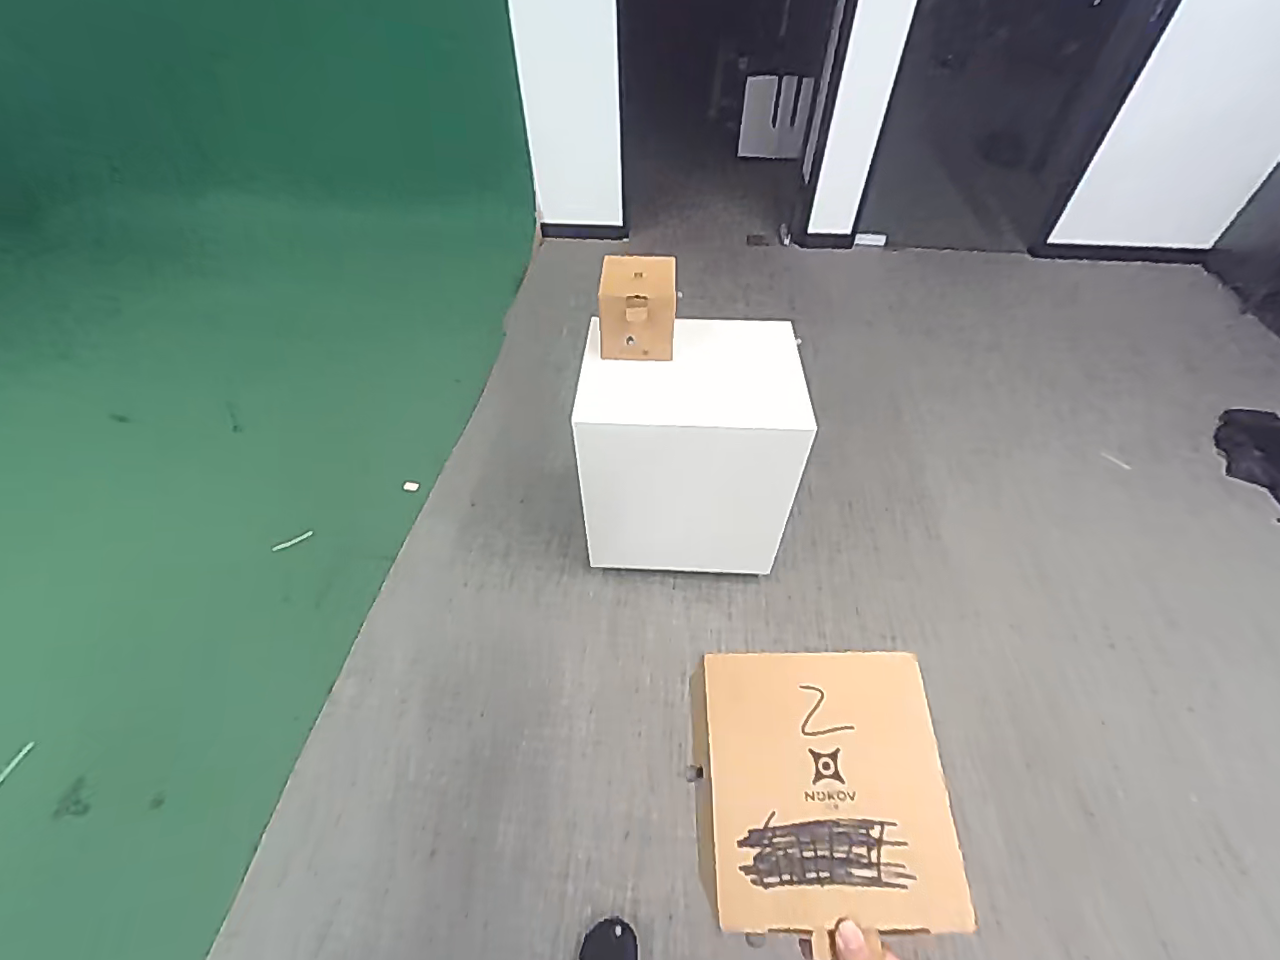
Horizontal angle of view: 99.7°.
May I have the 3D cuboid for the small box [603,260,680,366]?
[{"bbox_3d":[0.004,-0.387,1.252,0.168,0.176,0.179,2,50,1],"label":"small box"}]
